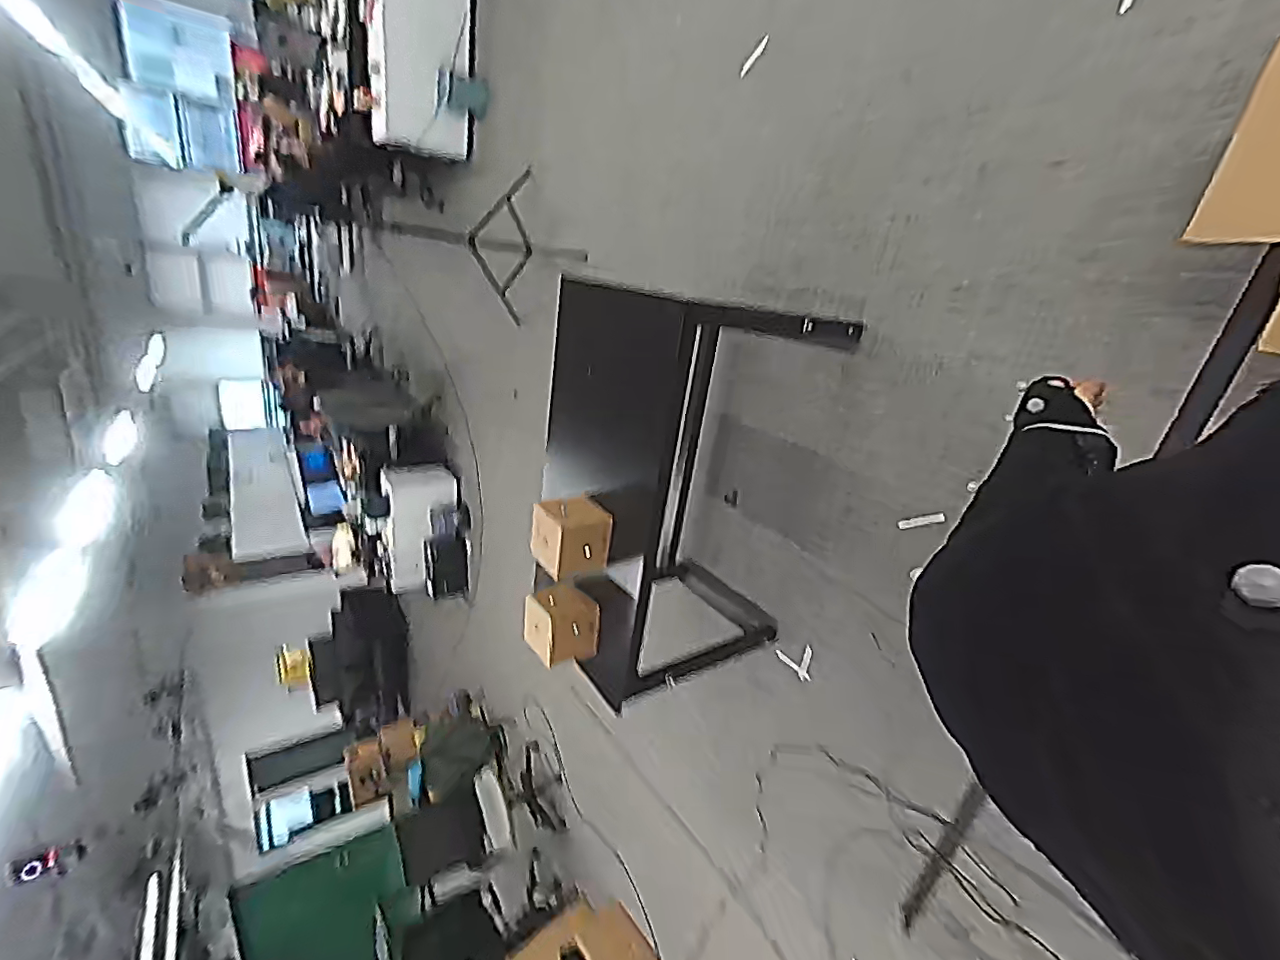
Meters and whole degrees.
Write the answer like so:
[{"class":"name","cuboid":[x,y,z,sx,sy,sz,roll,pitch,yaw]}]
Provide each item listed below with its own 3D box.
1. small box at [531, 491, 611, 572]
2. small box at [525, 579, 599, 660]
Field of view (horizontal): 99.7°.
[{"class":"small box","cuboid":[-0.201,0.142,1.578,0.179,0.176,0.168,35,123,47]},{"class":"small box","cuboid":[-0.243,0.426,1.689,0.179,0.176,0.168,28,116,50]}]
